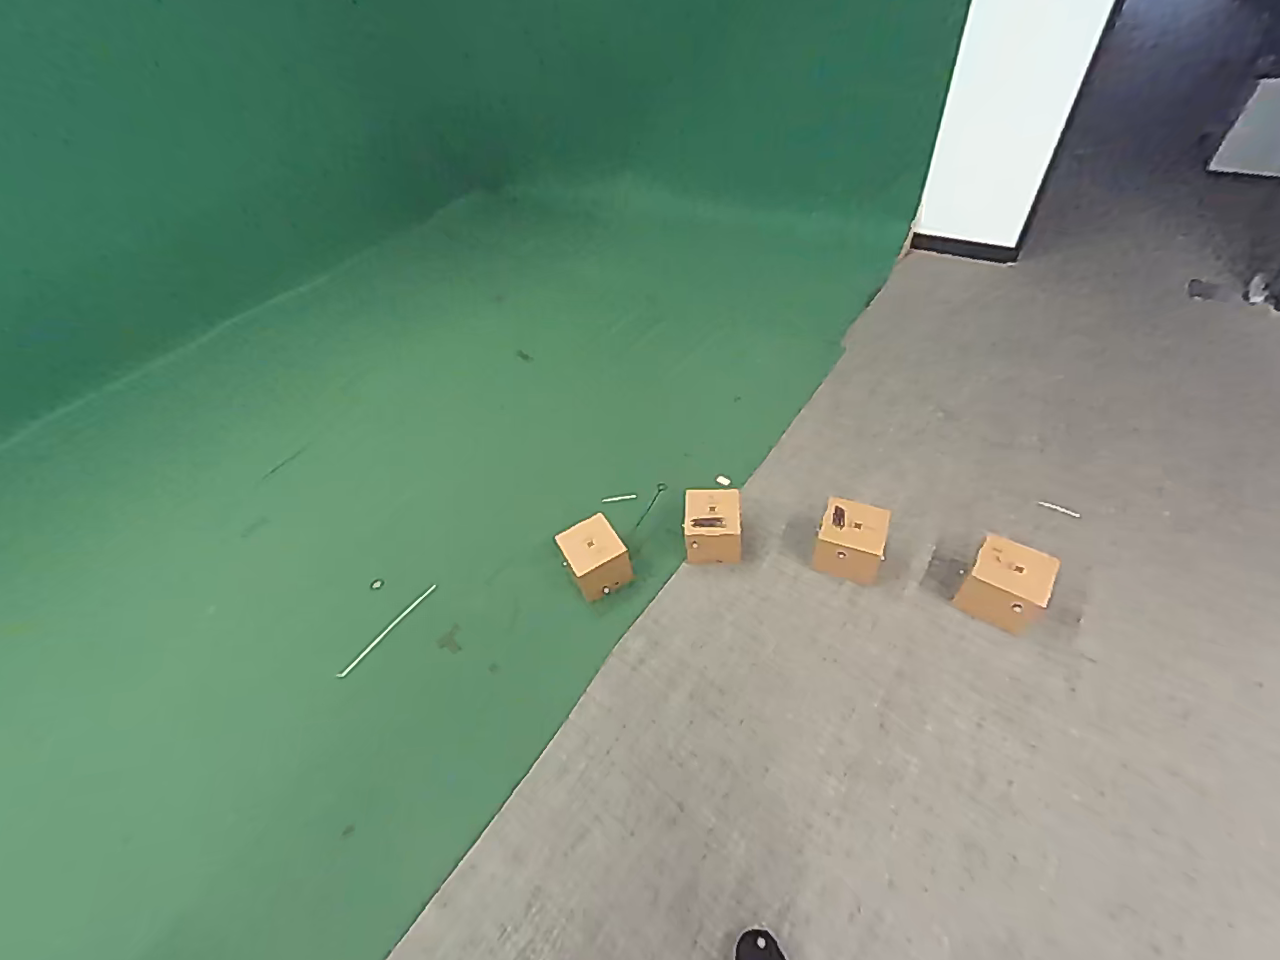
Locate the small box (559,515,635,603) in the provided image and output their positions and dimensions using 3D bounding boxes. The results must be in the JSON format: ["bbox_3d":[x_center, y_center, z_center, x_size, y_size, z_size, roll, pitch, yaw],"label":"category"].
[{"bbox_3d":[-0.133,0.248,1.687,0.168,0.176,0.179,-27,50,-14],"label":"small box"}]

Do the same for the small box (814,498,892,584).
[{"bbox_3d":[0.627,0.184,1.608,0.179,0.176,0.168,15,53,21],"label":"small box"}]

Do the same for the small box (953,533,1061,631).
[{"bbox_3d":[0.984,0.282,1.461,0.179,0.176,0.168,26,57,28],"label":"small box"}]
